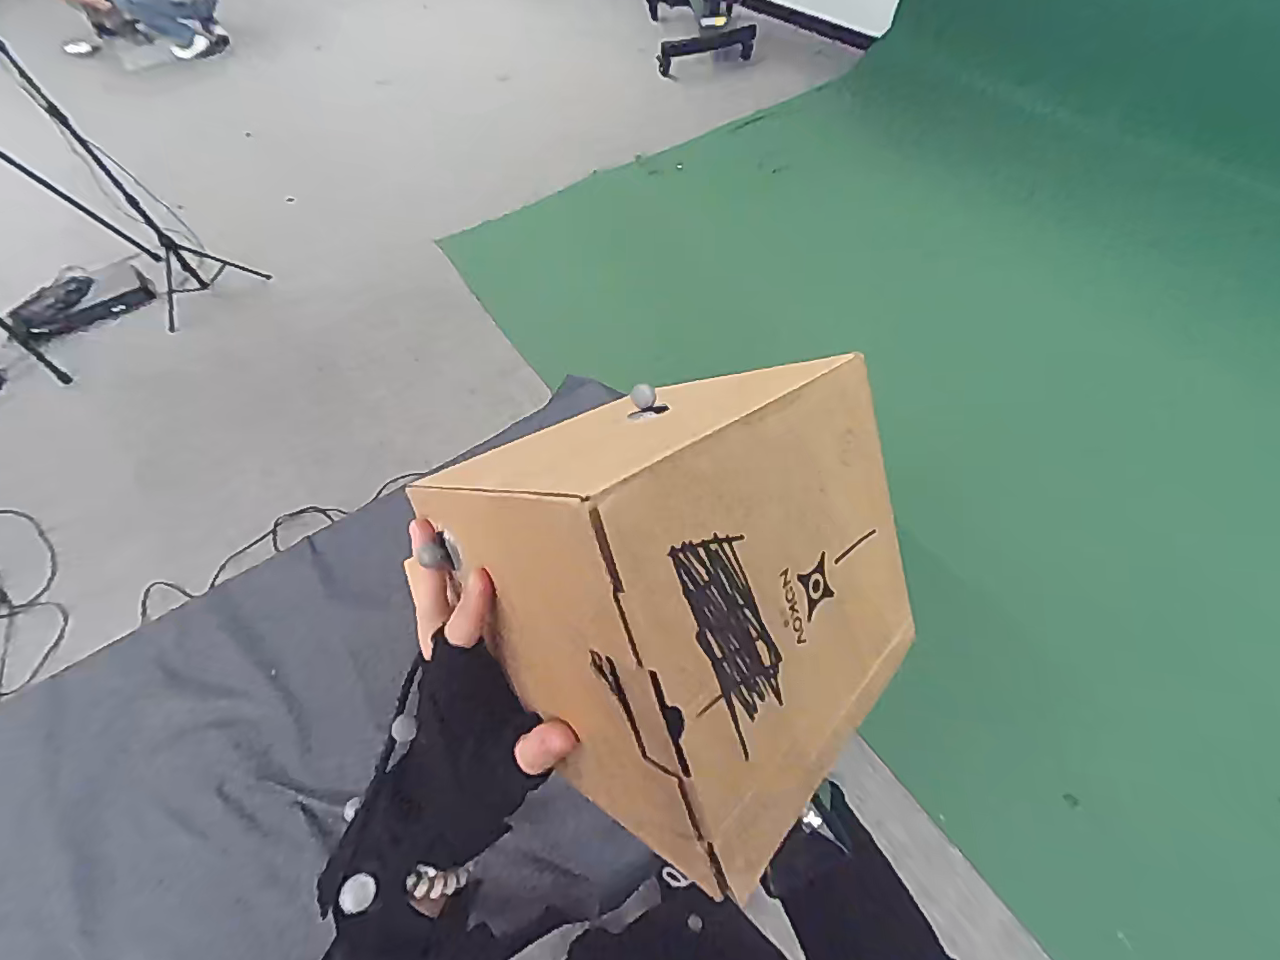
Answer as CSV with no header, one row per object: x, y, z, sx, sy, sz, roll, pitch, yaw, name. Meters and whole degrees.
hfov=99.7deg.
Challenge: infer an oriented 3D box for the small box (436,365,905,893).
0.012,0.051,0.295,0.179,0.168,0.176,-30,19,-37,small box
